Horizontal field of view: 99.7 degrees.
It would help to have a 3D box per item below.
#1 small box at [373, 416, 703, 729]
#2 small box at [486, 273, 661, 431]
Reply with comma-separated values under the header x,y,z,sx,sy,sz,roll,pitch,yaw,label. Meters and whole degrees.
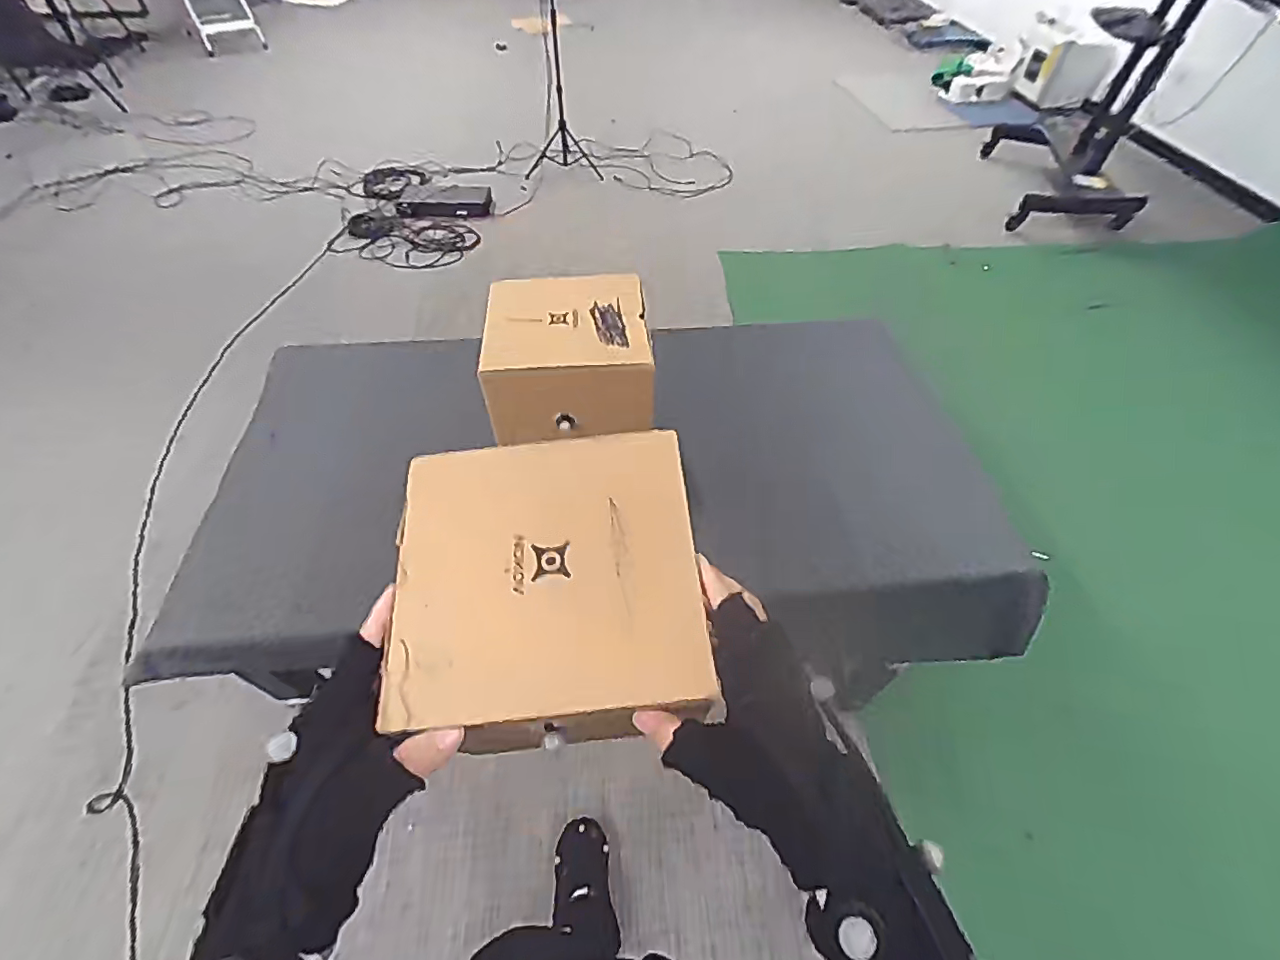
x,y,z,sx,sy,sz,roll,pitch,yaw,label
-0.055,0.076,0.385,0.179,0.176,0.168,-6,62,-1,small box
-0.078,-0.124,0.644,0.179,0.176,0.168,-5,52,-6,small box
